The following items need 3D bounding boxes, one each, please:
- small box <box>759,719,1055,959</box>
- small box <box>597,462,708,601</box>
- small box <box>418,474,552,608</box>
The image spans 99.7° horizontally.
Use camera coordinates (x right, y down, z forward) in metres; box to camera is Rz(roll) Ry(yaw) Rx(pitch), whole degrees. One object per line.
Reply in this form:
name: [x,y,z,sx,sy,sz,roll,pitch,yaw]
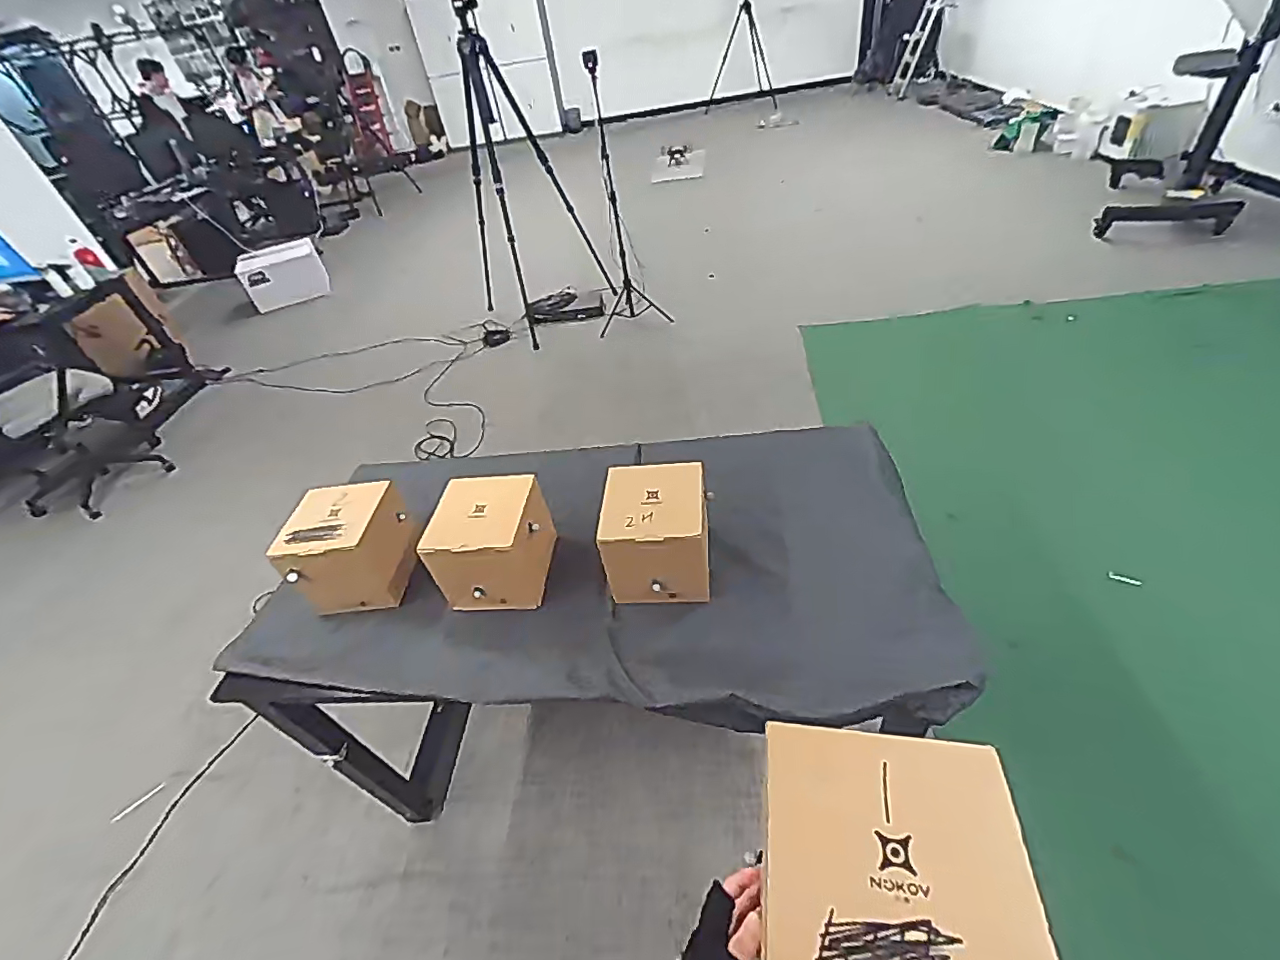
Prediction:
small box: [0.177,0.310,0.407,0.168,0.176,0.179,2,43,12]
small box: [0.030,0.089,0.937,0.168,0.176,0.179,-3,42,9]
small box: [-0.265,0.109,0.977,0.168,0.176,0.179,-3,43,8]
